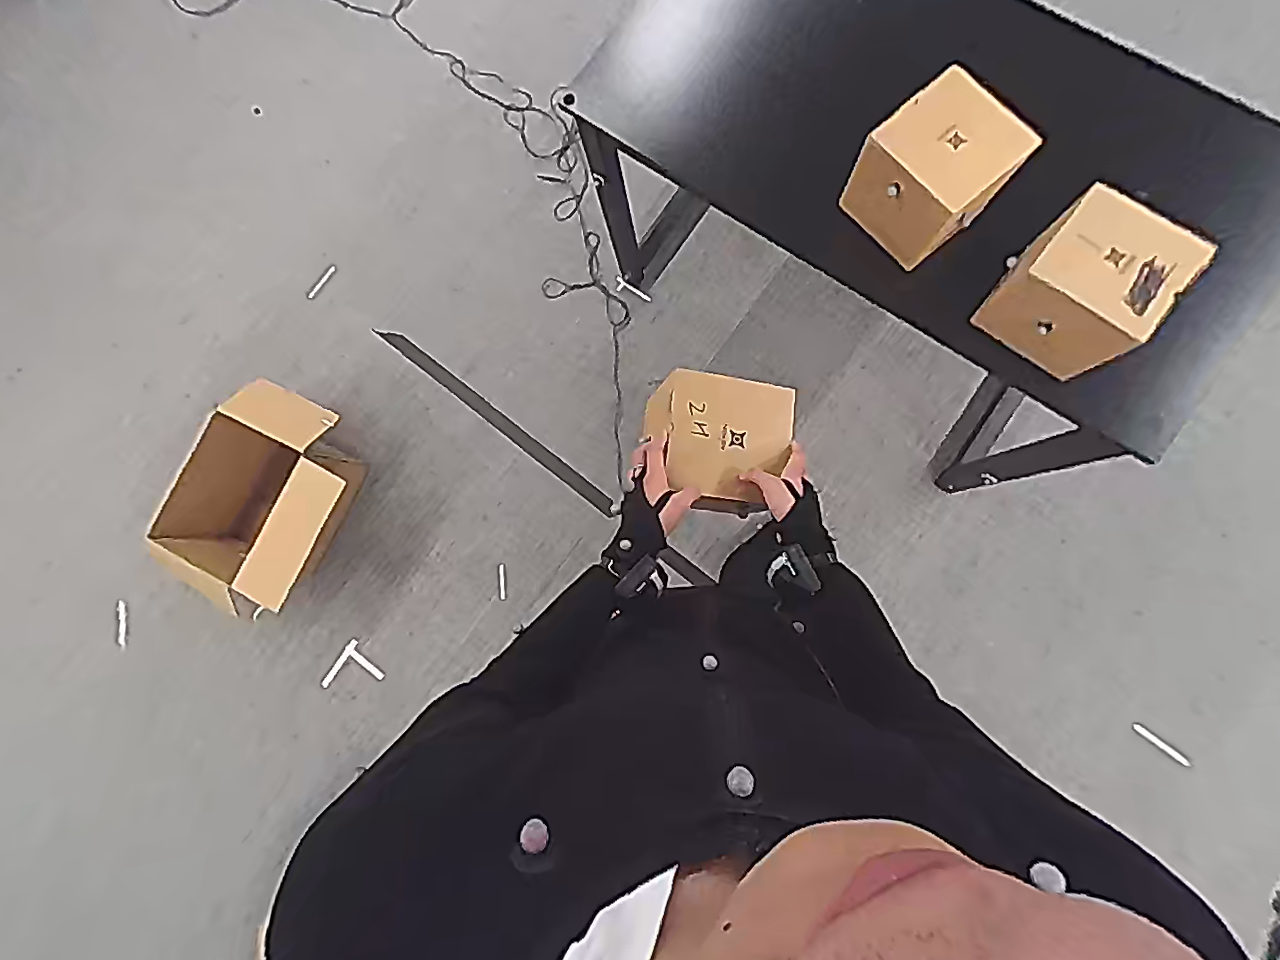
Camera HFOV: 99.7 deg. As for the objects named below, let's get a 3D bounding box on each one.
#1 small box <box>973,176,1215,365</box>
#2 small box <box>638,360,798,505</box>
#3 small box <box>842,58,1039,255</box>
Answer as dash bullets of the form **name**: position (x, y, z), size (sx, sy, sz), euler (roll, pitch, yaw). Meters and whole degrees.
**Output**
- **small box**: position (0.651, -0.292, 0.801), size (0.179, 0.176, 0.168), euler (38, 88, 10)
- **small box**: position (0.105, -0.057, 0.781), size (0.179, 0.176, 0.168), euler (7, 82, -10)
- **small box**: position (0.453, -0.486, 0.847), size (0.168, 0.176, 0.179), euler (-40, 81, 0)
